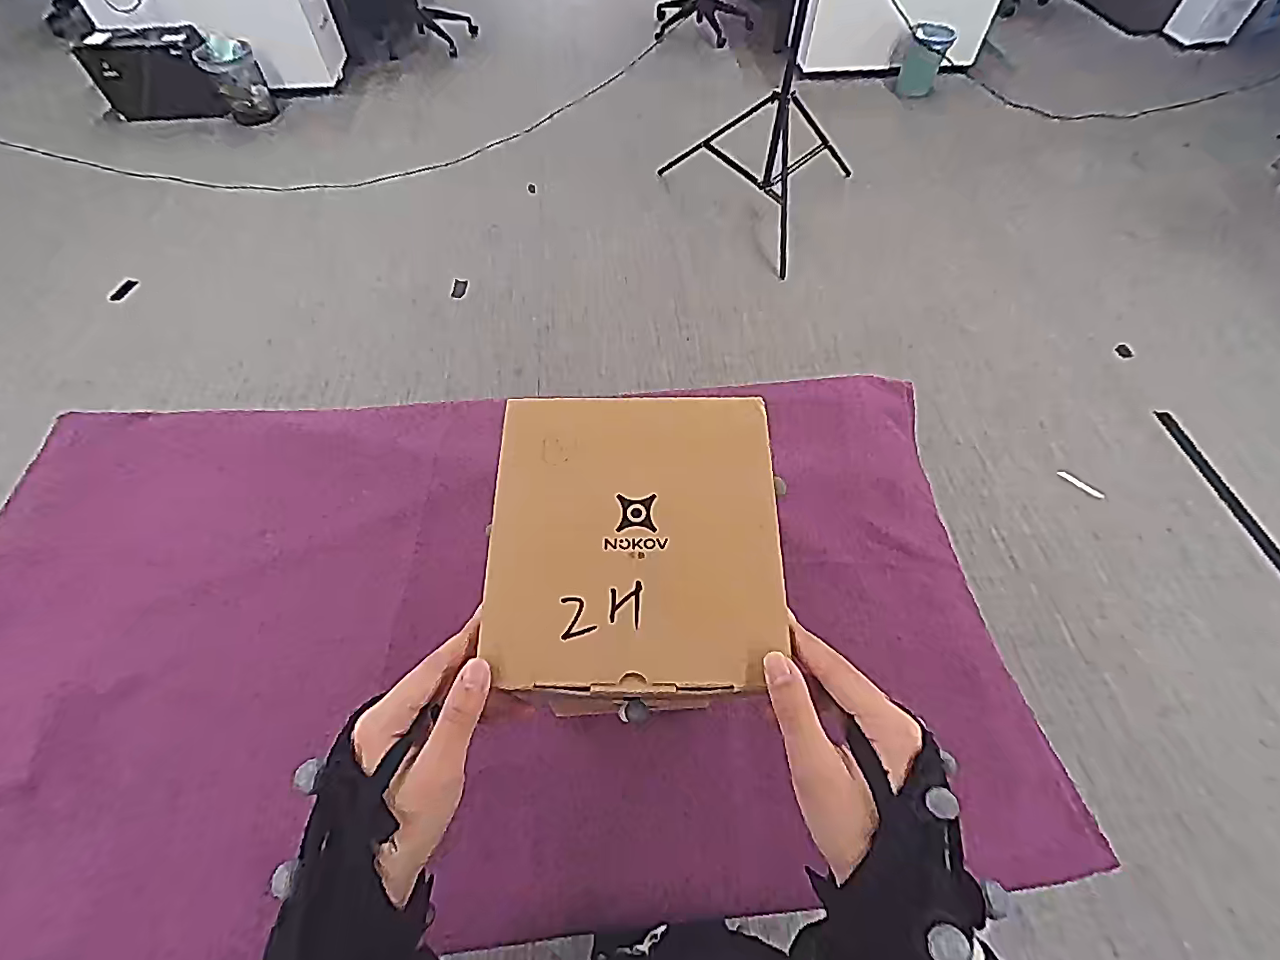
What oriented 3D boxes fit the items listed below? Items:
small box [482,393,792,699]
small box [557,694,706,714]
[{"bbox_3d":[0.001,0.056,0.389,0.168,0.176,0.179,0,65,2],"label":"small box"},{"bbox_3d":[-0.011,0.134,0.570,0.168,0.176,0.179,-3,57,-2],"label":"small box"}]
